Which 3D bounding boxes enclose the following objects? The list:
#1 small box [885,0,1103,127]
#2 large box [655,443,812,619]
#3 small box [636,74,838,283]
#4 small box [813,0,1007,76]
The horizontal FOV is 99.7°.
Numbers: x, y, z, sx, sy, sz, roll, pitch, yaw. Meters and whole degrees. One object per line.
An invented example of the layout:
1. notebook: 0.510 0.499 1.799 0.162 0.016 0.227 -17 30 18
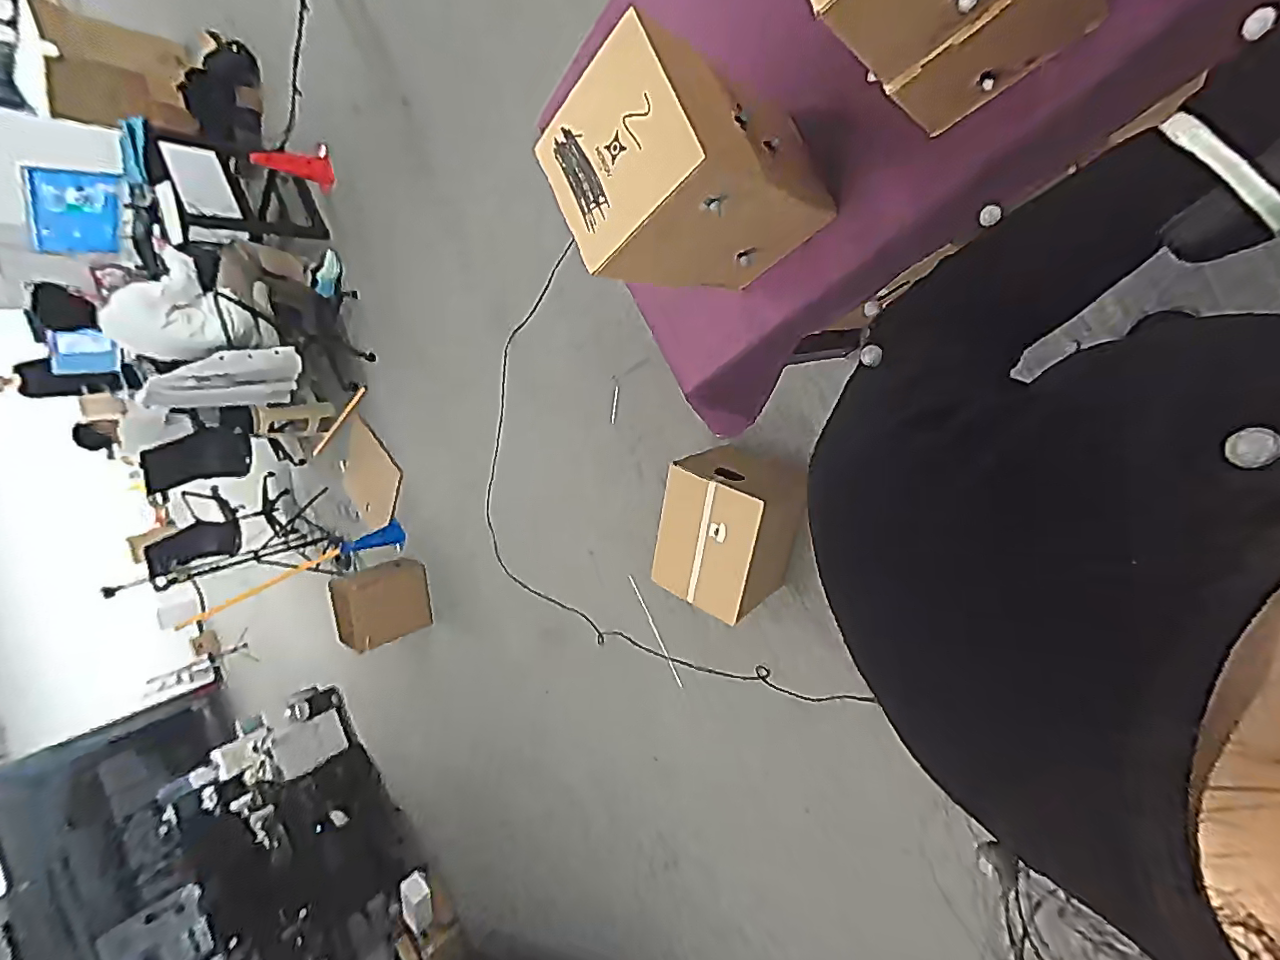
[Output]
1. small box: 0.324 -0.495 0.532 0.168 0.176 0.179 -22 89 43
2. large box: 0.282 0.138 1.658 0.320 0.320 0.408 24 117 33
3. small box: 0.132 -0.384 0.731 0.179 0.176 0.168 -28 84 43
4. small box: 0.216 -0.464 0.411 0.168 0.176 0.179 -20 90 43
